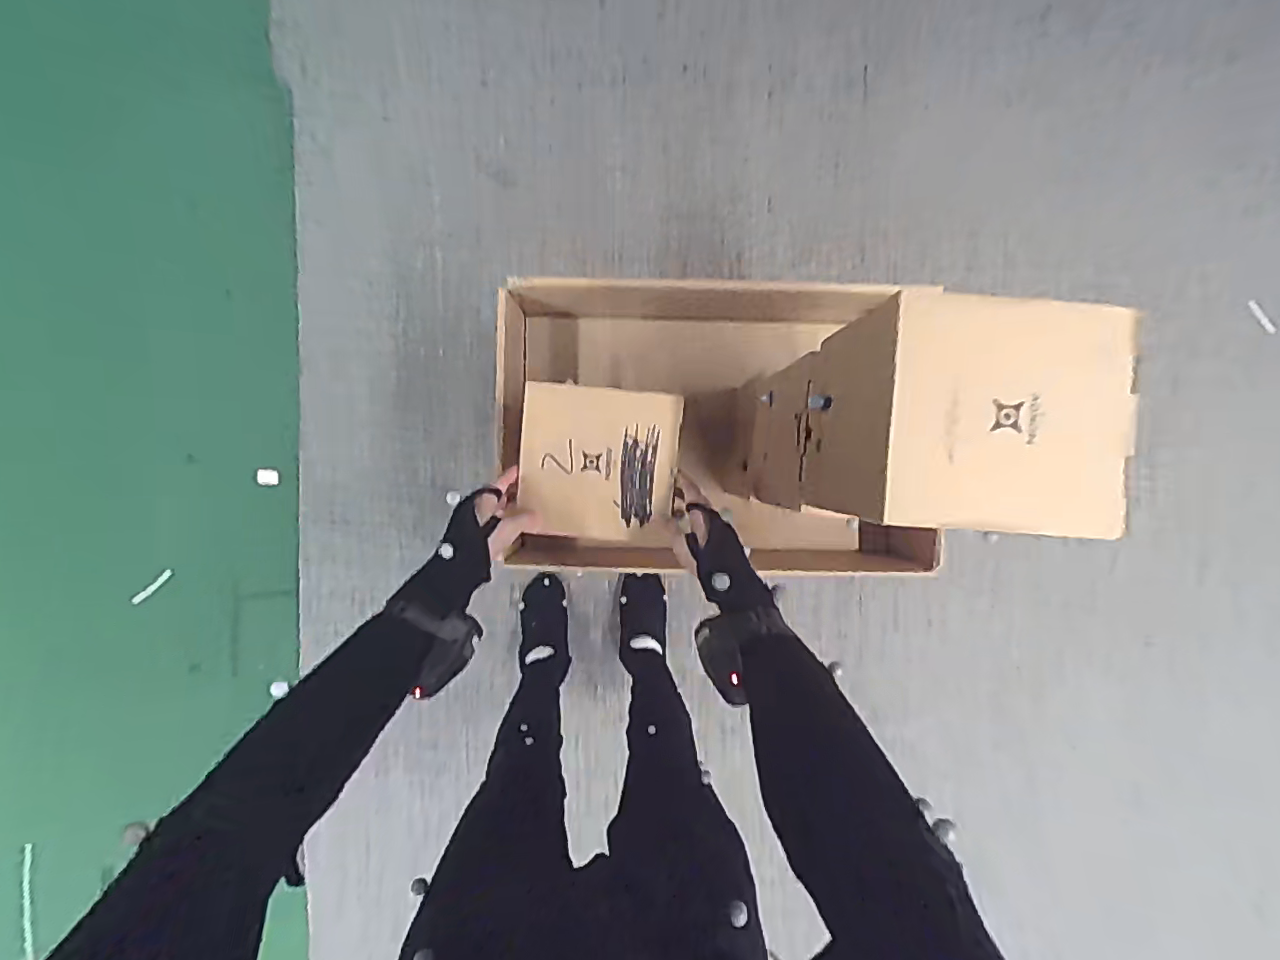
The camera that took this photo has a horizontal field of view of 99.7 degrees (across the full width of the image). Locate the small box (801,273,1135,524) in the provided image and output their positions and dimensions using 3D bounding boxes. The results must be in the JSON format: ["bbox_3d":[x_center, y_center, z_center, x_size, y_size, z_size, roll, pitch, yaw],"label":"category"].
[{"bbox_3d":[0.253,-0.058,0.458,0.179,0.176,0.168,4,90,-1],"label":"small box"}]

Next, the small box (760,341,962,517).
[{"bbox_3d":[0.245,-0.052,0.619,0.179,0.176,0.168,5,91,-2],"label":"small box"}]
